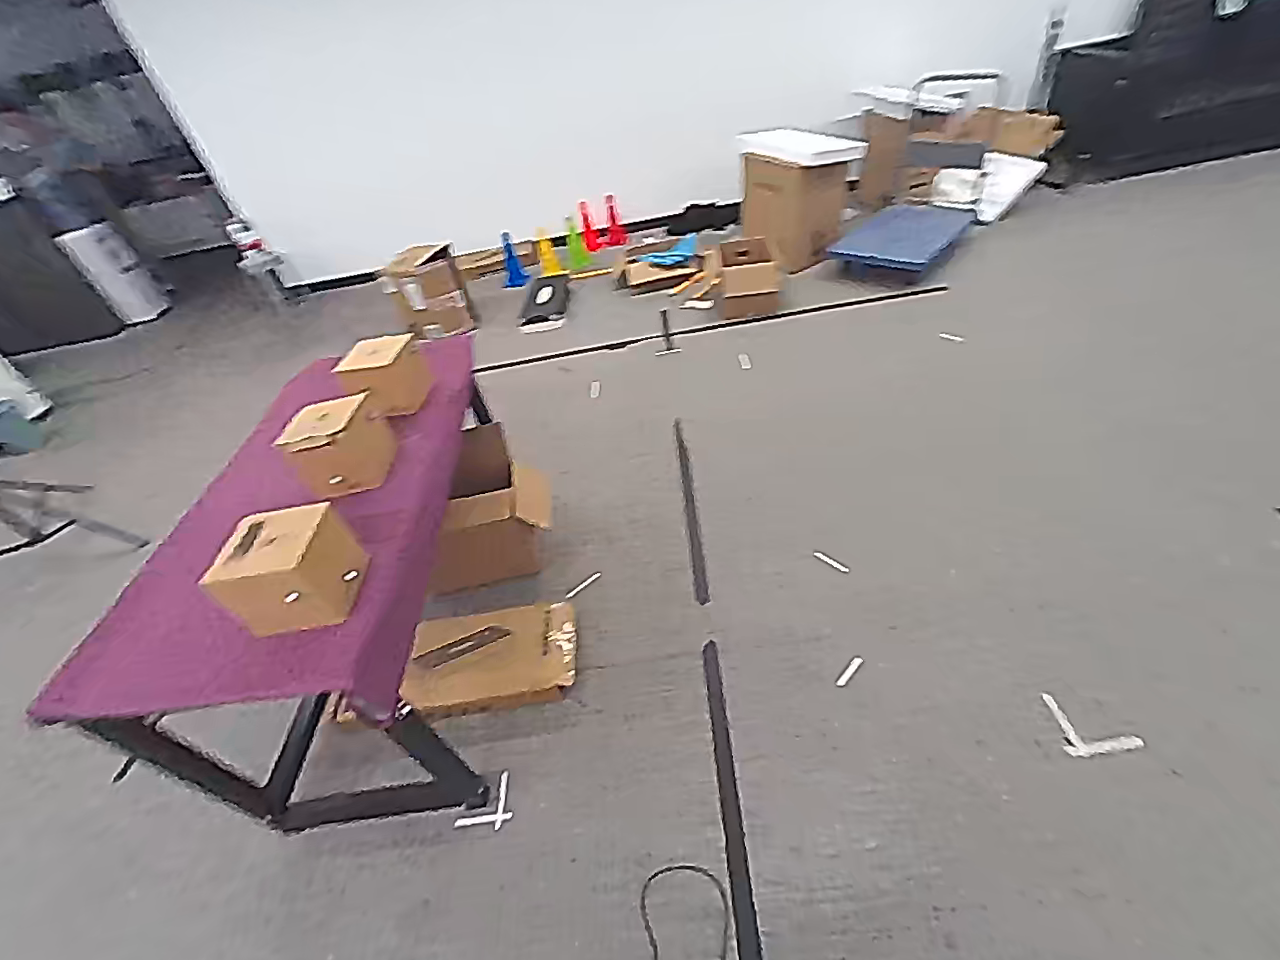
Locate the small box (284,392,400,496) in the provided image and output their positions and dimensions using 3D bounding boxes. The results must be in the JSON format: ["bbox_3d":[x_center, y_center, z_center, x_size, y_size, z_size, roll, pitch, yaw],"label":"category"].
[{"bbox_3d":[-0.721,-0.088,1.333,0.168,0.176,0.179,-12,42,5],"label":"small box"}]

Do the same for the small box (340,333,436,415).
[{"bbox_3d":[-0.720,-0.301,1.570,0.168,0.176,0.179,-5,42,8],"label":"small box"}]
